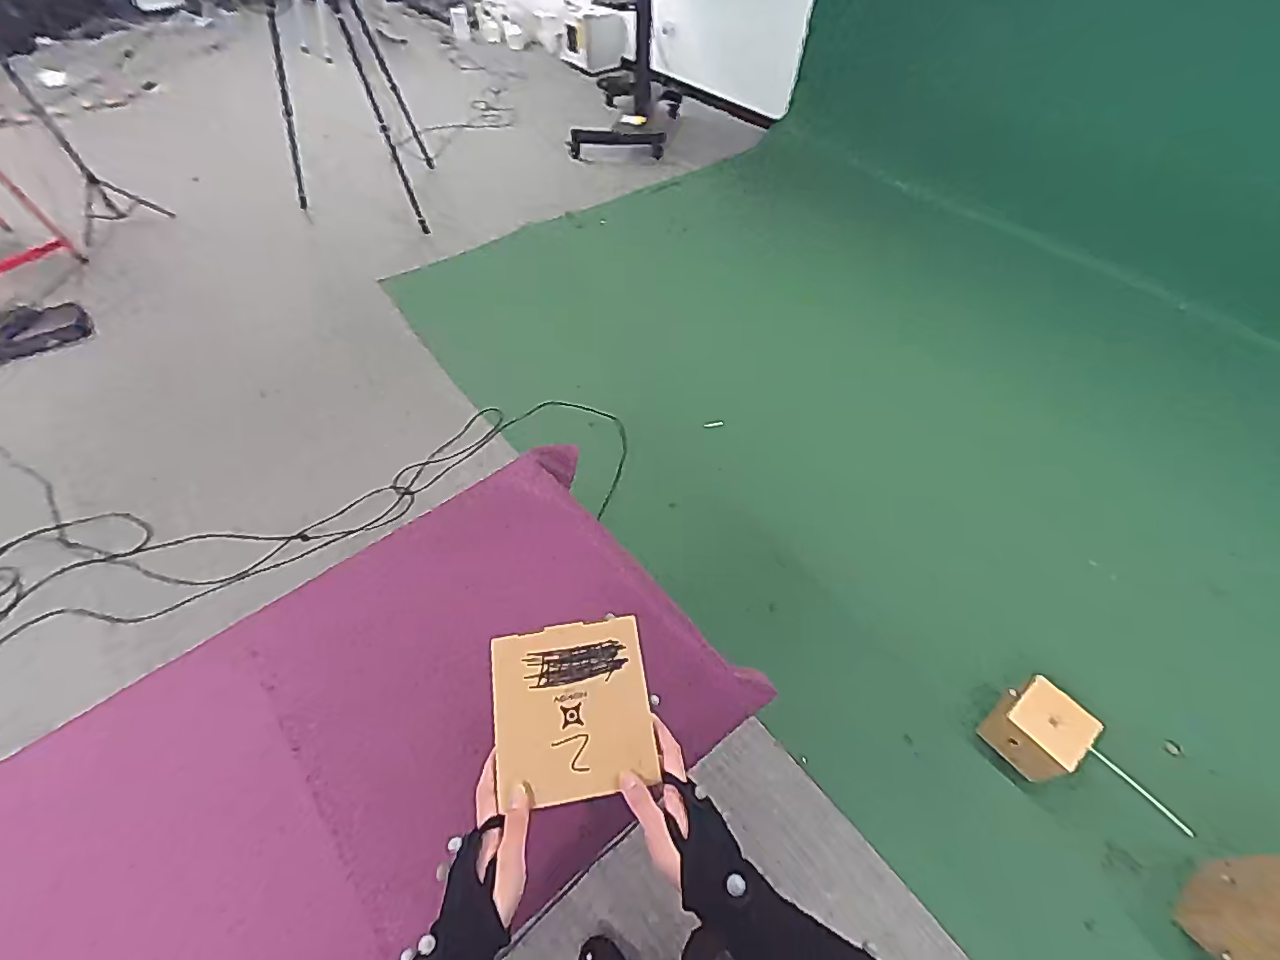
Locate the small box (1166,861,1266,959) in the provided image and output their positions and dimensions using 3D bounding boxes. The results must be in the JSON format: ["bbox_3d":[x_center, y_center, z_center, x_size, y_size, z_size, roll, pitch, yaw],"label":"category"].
[{"bbox_3d":[1.340,0.989,1.199,0.179,0.176,0.168,-31,60,-23],"label":"small box"}]

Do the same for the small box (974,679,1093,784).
[{"bbox_3d":[1.030,0.670,1.435,0.179,0.176,0.168,-31,59,-24],"label":"small box"}]

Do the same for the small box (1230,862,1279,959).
[{"bbox_3d":[1.347,0.890,1.068,0.179,0.176,0.168,-31,60,-23],"label":"small box"}]
